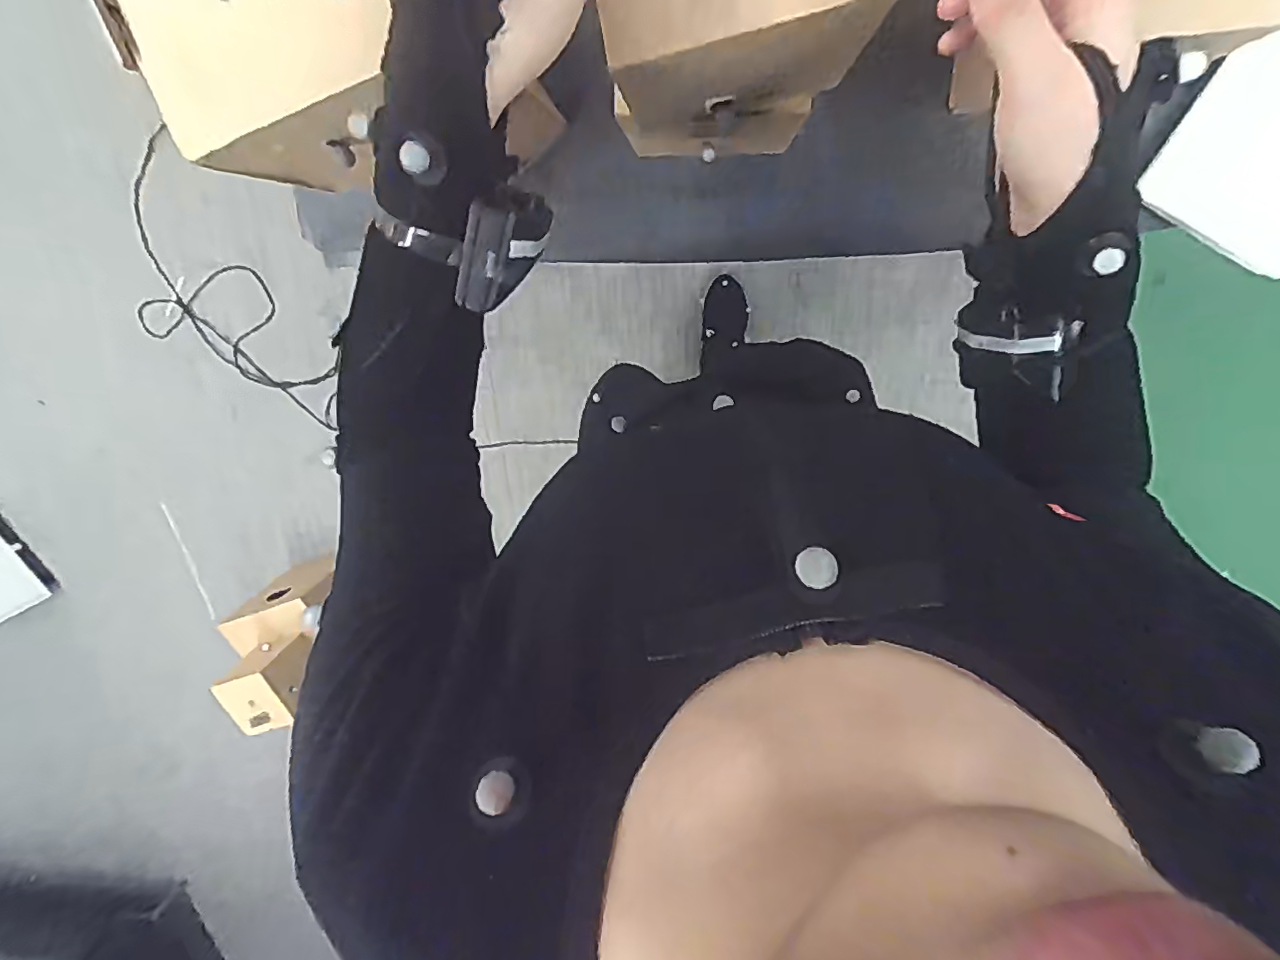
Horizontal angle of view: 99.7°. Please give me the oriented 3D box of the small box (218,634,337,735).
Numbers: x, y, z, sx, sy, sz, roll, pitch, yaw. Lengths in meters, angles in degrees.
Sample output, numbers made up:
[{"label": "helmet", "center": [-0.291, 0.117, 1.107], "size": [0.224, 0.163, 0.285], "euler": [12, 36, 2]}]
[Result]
[{"label": "small box", "center": [-0.978, 0.556, 1.479], "size": [0.168, 0.176, 0.179], "euler": [-19, 108, 12]}]

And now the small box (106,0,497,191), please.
[{"label": "small box", "center": [-0.235, -0.332, 0.394], "size": [0.179, 0.176, 0.168], "euler": [-14, 109, 13]}]

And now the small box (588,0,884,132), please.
[{"label": "small box", "center": [0.050, -0.359, 0.348], "size": [0.168, 0.176, 0.179], "euler": [-8, 111, 11]}]

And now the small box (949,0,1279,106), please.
[{"label": "small box", "center": [0.392, -0.436, 0.449], "size": [0.179, 0.176, 0.168], "euler": [-1, 110, 9]}]

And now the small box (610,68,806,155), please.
[{"label": "small box", "center": [0.065, -0.418, 0.498], "size": [0.168, 0.176, 0.179], "euler": [2, 111, 7]}]
